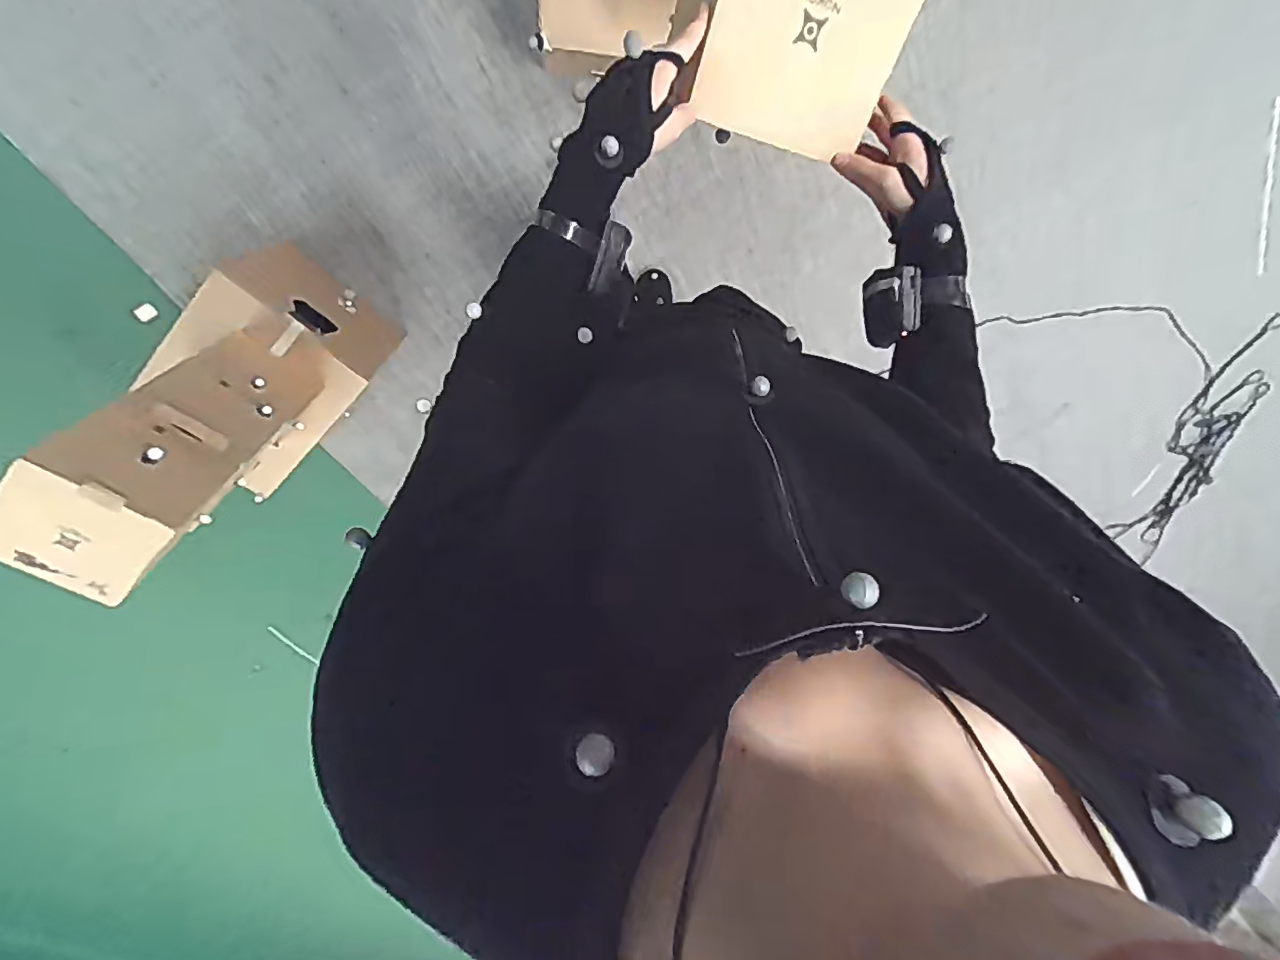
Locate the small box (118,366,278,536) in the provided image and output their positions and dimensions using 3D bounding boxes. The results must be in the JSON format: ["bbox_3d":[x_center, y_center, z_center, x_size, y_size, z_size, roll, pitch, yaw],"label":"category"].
[{"bbox_3d":[-0.721,-0.052,0.863,0.179,0.176,0.168,-41,118,17],"label":"small box"}]

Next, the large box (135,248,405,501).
[{"bbox_3d":[-0.810,-0.240,1.217,0.408,0.320,0.320,-40,117,17],"label":"large box"}]

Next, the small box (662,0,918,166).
[{"bbox_3d":[0.125,-0.418,0.492,0.168,0.176,0.179,8,126,-15],"label":"small box"}]

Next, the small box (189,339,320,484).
[{"bbox_3d":[-0.742,-0.132,1.004,0.168,0.176,0.179,-40,118,16],"label":"small box"}]

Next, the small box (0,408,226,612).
[{"bbox_3d":[-0.705,0.033,0.723,0.179,0.176,0.168,-41,118,15],"label":"small box"}]
